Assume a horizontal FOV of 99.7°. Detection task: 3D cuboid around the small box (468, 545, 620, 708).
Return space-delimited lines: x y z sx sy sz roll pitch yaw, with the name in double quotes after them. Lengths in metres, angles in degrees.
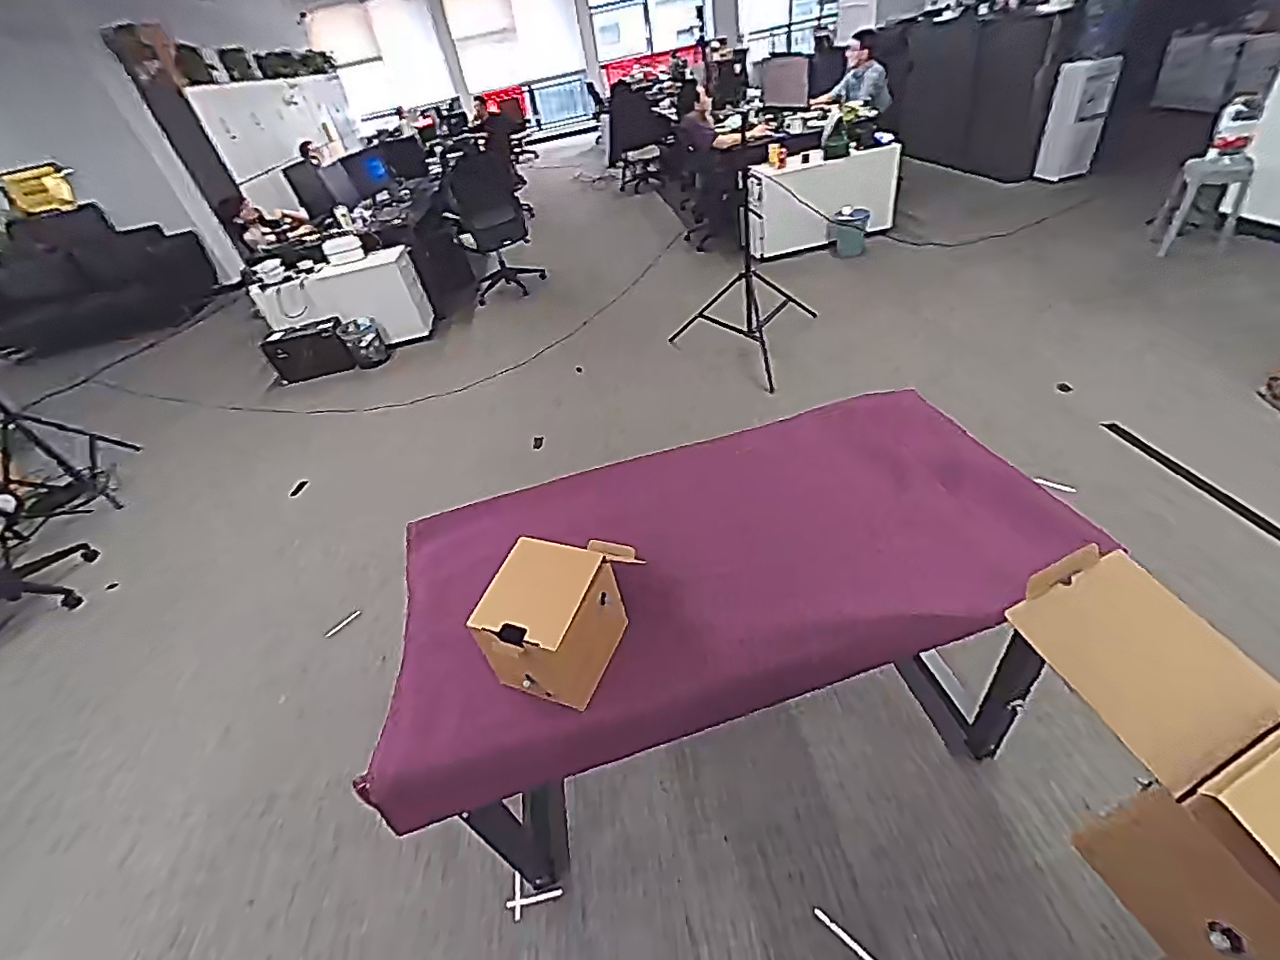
-0.144 0.238 0.892 0.168 0.176 0.179 7 42 24 "small box"
